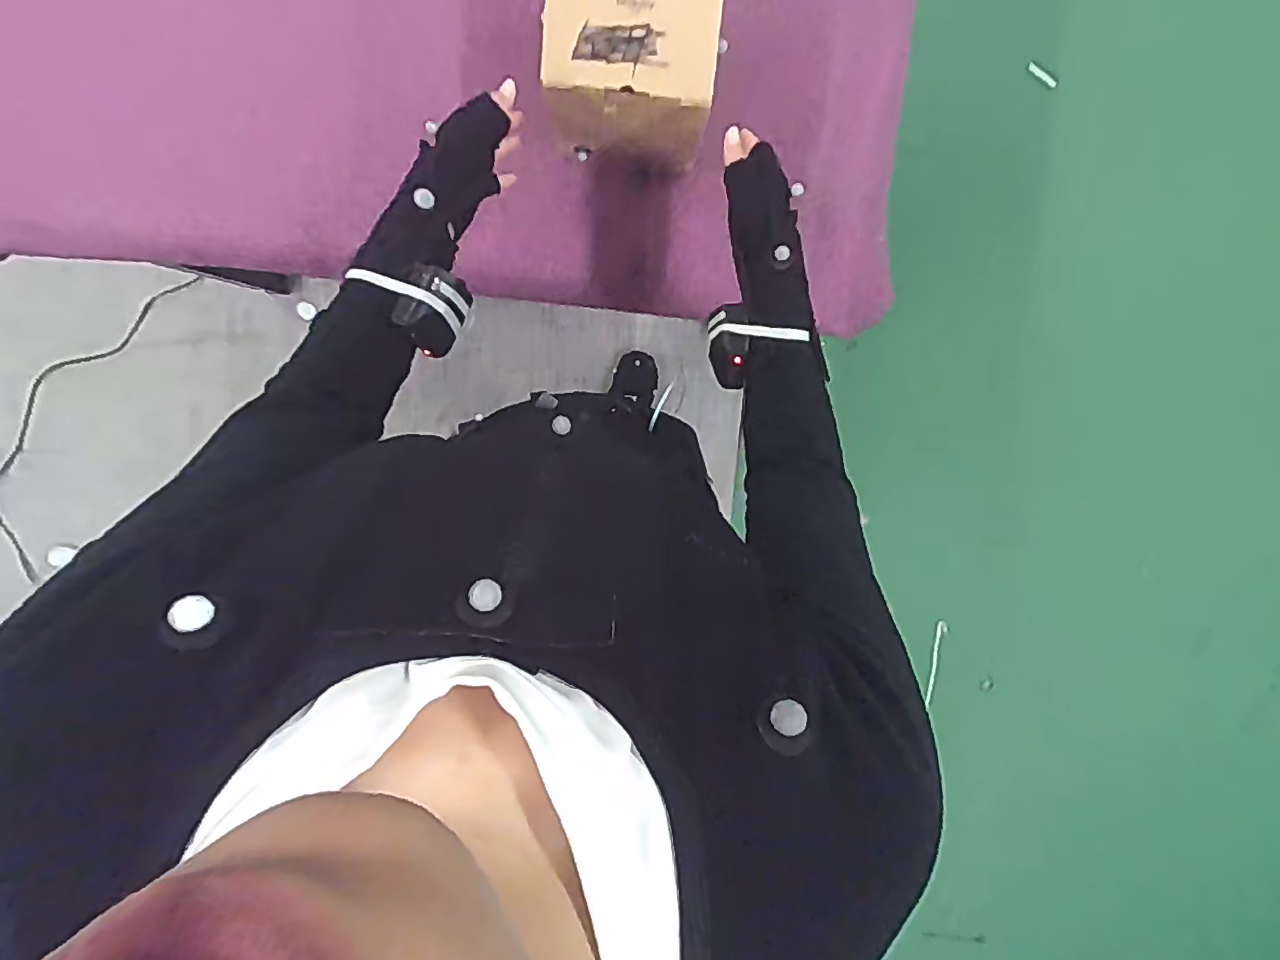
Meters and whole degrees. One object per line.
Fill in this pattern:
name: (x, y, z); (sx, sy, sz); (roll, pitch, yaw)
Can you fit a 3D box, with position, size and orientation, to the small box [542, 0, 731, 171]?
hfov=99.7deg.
small box: (-0.003, -0.457, 0.570); (0.168, 0.176, 0.179); (8, 100, -6)
